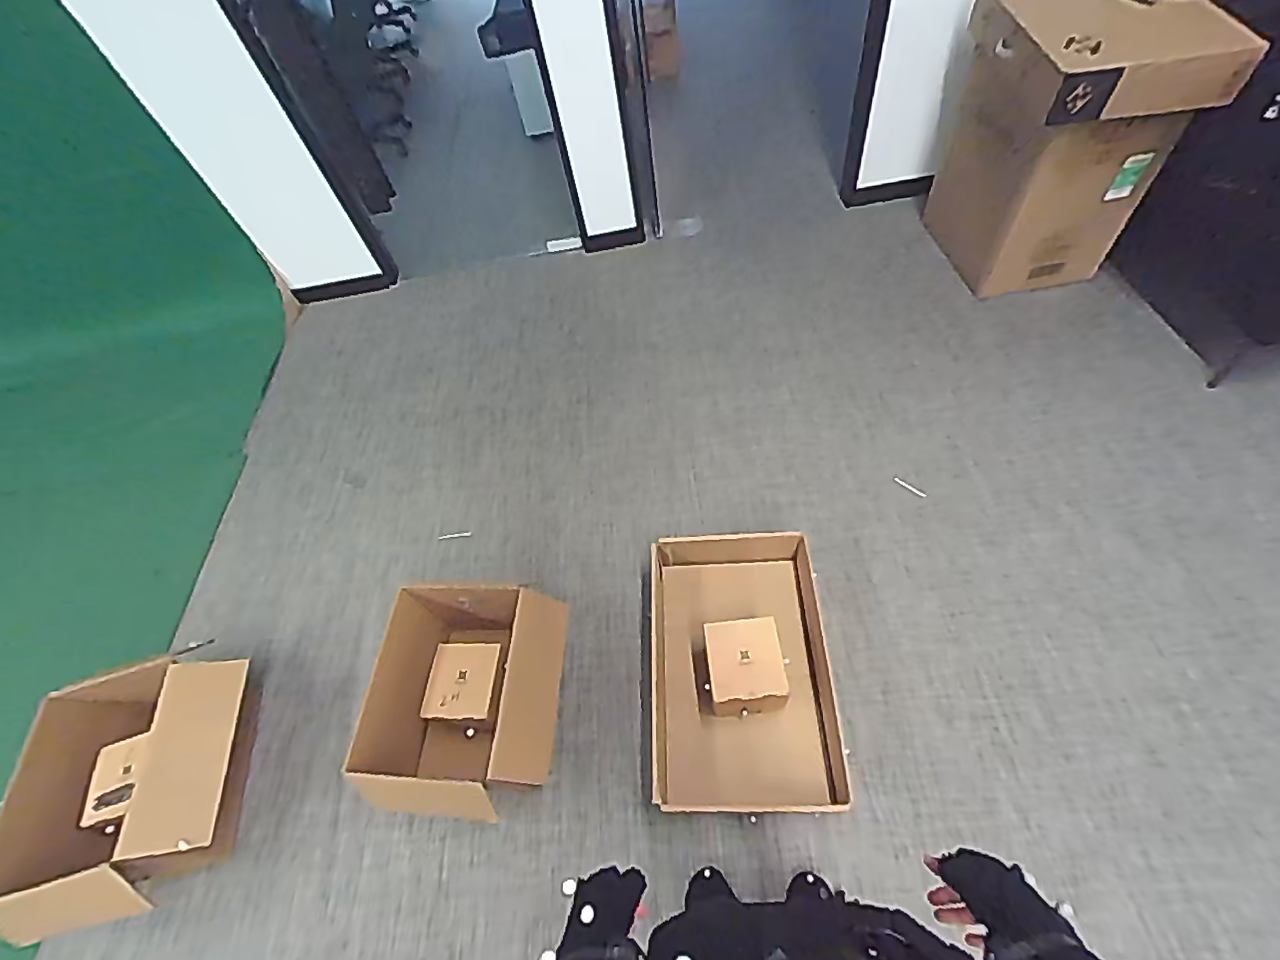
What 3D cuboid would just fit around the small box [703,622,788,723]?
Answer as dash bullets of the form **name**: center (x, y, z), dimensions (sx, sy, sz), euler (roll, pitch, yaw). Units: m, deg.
- **small box**: center (0.238, 0.452, 1.266), dimensions (0.168, 0.176, 0.179), euler (-8, 55, 4)
